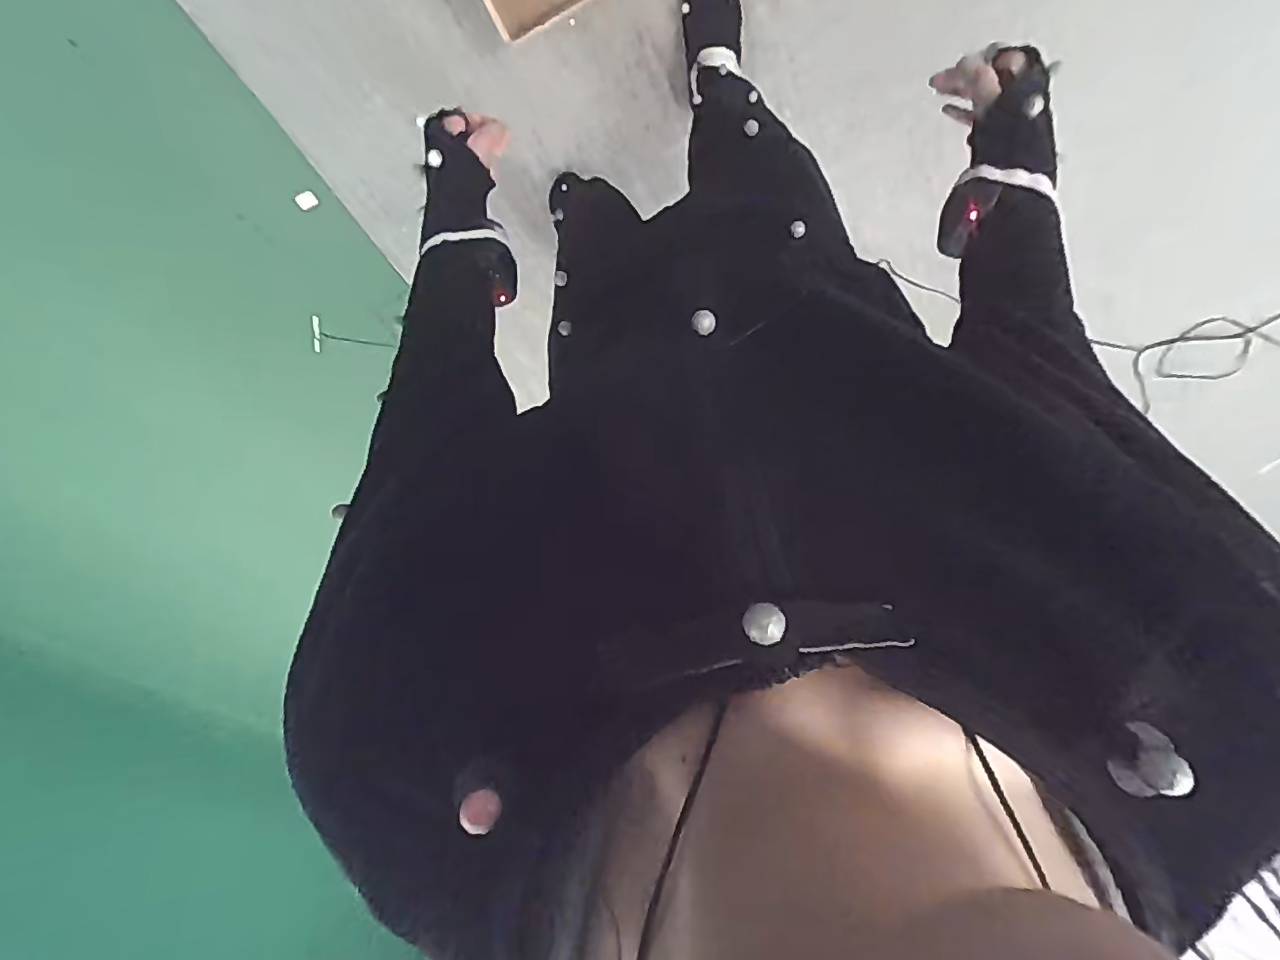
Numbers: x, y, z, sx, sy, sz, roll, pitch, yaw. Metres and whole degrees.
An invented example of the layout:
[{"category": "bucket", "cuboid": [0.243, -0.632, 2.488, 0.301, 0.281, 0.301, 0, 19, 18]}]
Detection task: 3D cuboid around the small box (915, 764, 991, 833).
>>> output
[{"category": "small box", "cuboid": [1.083, 1.102, 1.872, 0.179, 0.176, 0.168, -20, 131, 20]}]
